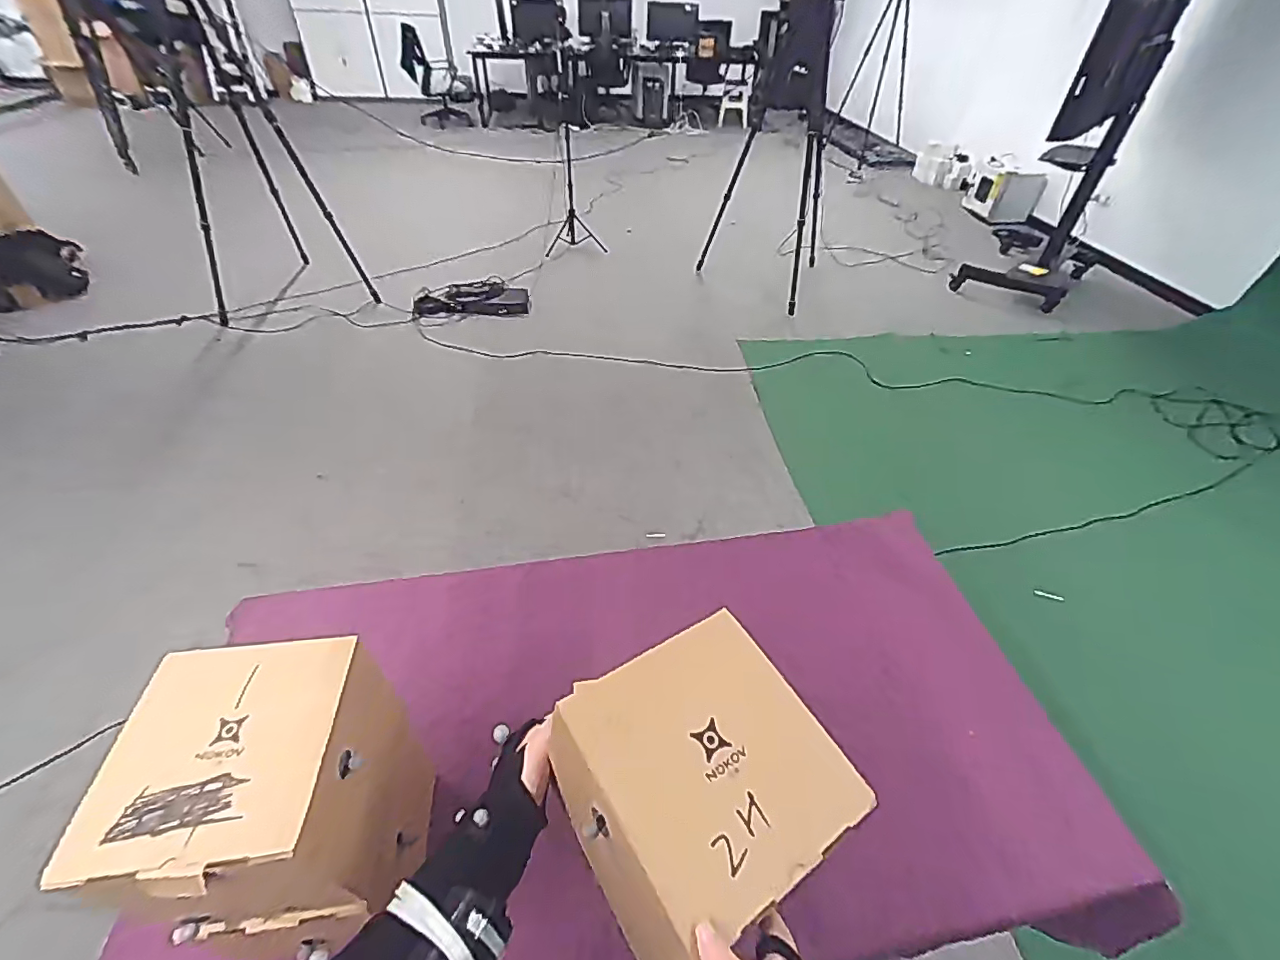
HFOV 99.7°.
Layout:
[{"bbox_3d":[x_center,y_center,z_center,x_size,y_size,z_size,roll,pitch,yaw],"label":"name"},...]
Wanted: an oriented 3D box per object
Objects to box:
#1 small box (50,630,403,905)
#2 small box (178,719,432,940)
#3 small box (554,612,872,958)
[{"bbox_3d":[-0.332,0.261,0.489,0.168,0.176,0.179,-3,43,-6],"label":"small box"},{"bbox_3d":[-0.340,0.384,0.598,0.168,0.176,0.179,-3,45,-7],"label":"small box"},{"bbox_3d":[0.039,0.247,0.445,0.168,0.176,0.179,-19,56,-28],"label":"small box"}]
